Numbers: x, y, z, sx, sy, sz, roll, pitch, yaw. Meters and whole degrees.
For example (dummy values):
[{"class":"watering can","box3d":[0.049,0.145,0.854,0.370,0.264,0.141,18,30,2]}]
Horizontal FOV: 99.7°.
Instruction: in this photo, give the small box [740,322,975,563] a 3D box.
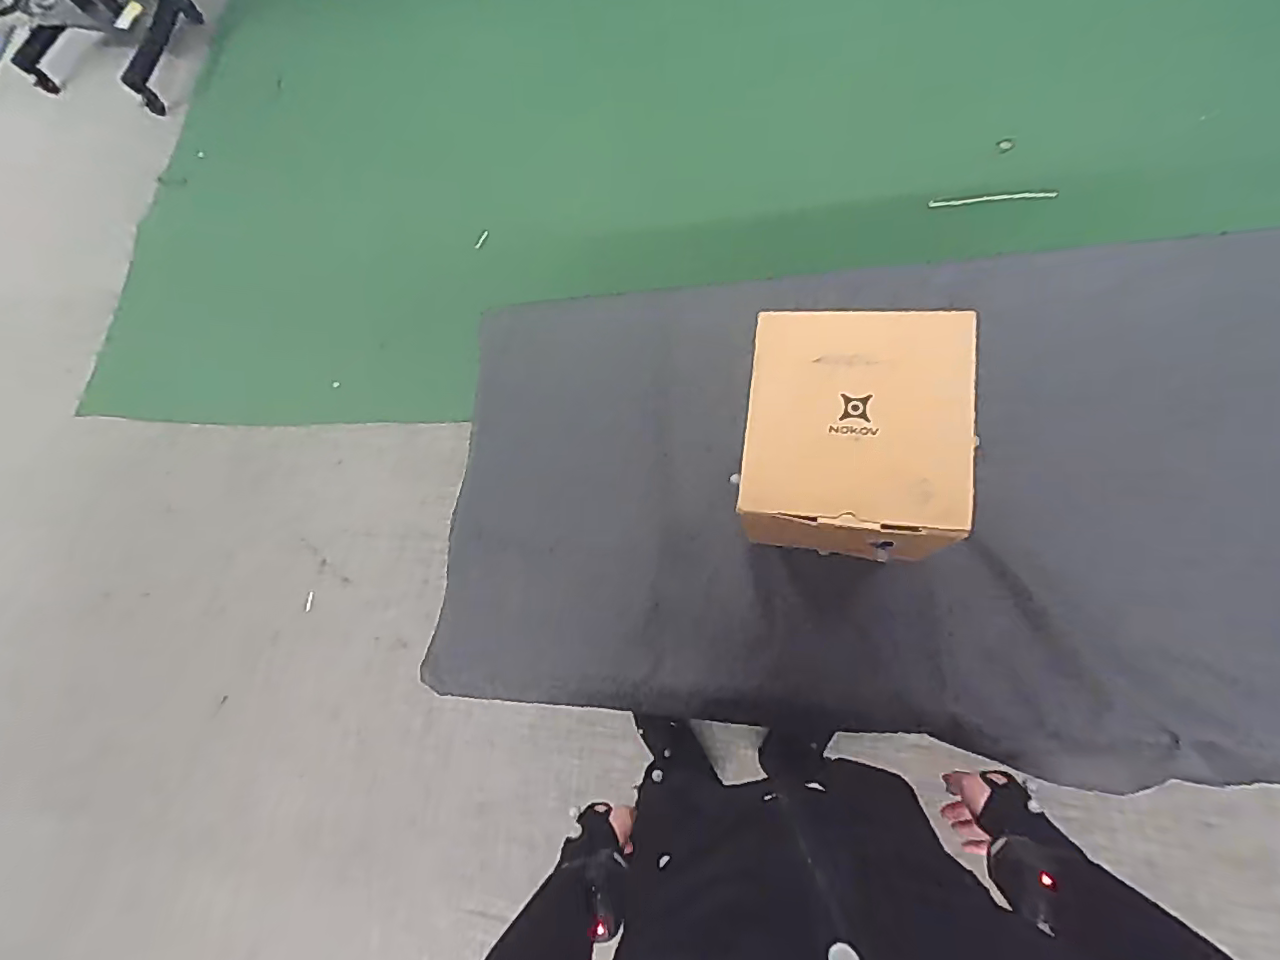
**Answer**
[{"class":"small box","box3d":[0.188,-0.024,0.495,0.168,0.176,0.179,4,76,15]}]
